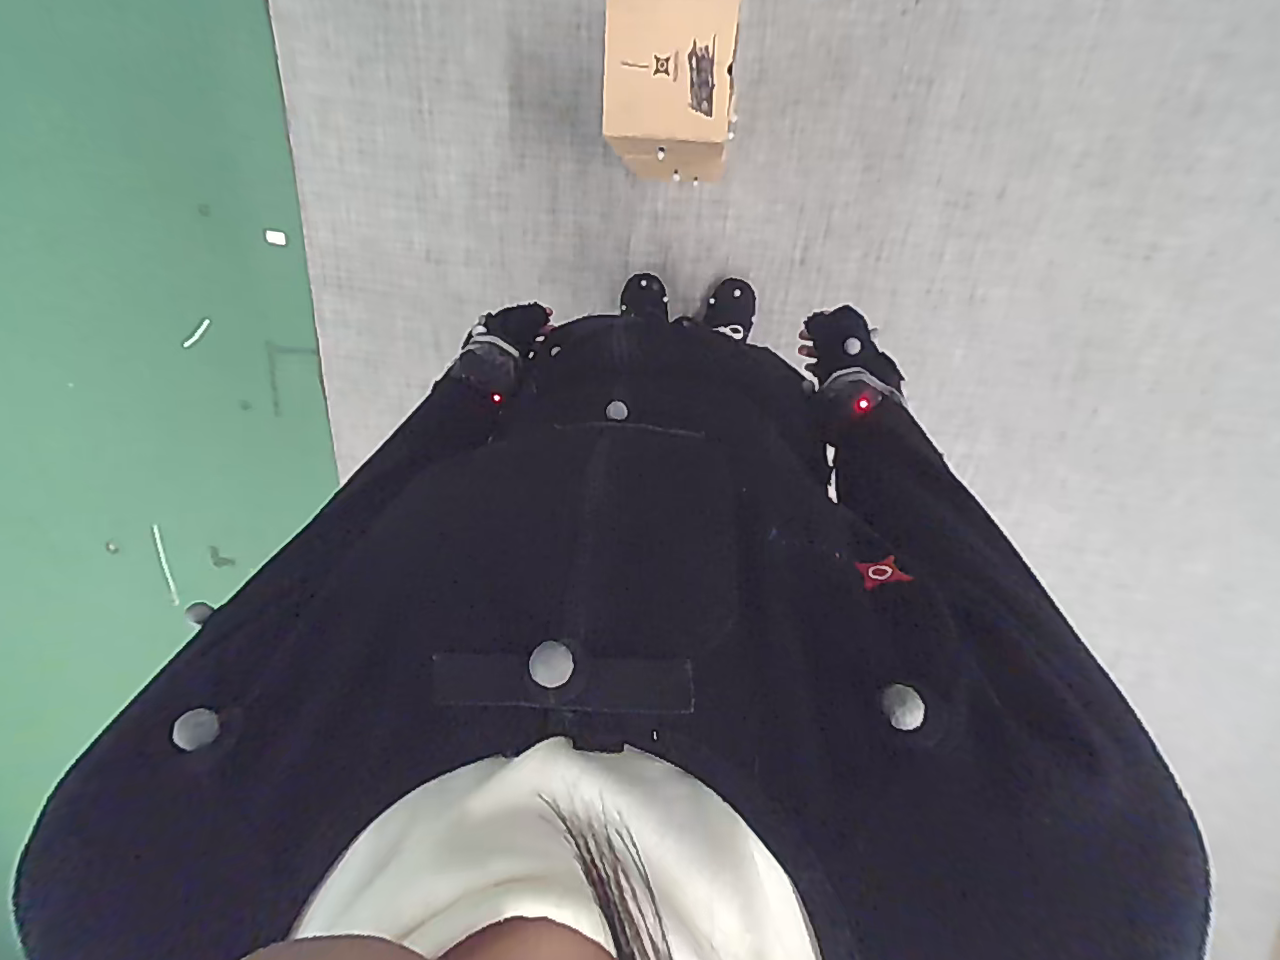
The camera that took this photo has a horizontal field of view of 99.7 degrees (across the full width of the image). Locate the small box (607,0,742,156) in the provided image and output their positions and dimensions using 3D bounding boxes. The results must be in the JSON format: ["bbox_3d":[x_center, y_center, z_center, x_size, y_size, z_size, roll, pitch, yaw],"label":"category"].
[{"bbox_3d":[0.048,-0.584,0.795,0.179,0.176,0.168,3,114,4],"label":"small box"}]

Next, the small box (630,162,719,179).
[{"bbox_3d":[0.080,-0.716,1.094,0.179,0.176,0.168,6,113,6],"label":"small box"}]

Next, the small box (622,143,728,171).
[{"bbox_3d":[0.068,-0.647,0.946,0.179,0.176,0.168,5,113,4],"label":"small box"}]
